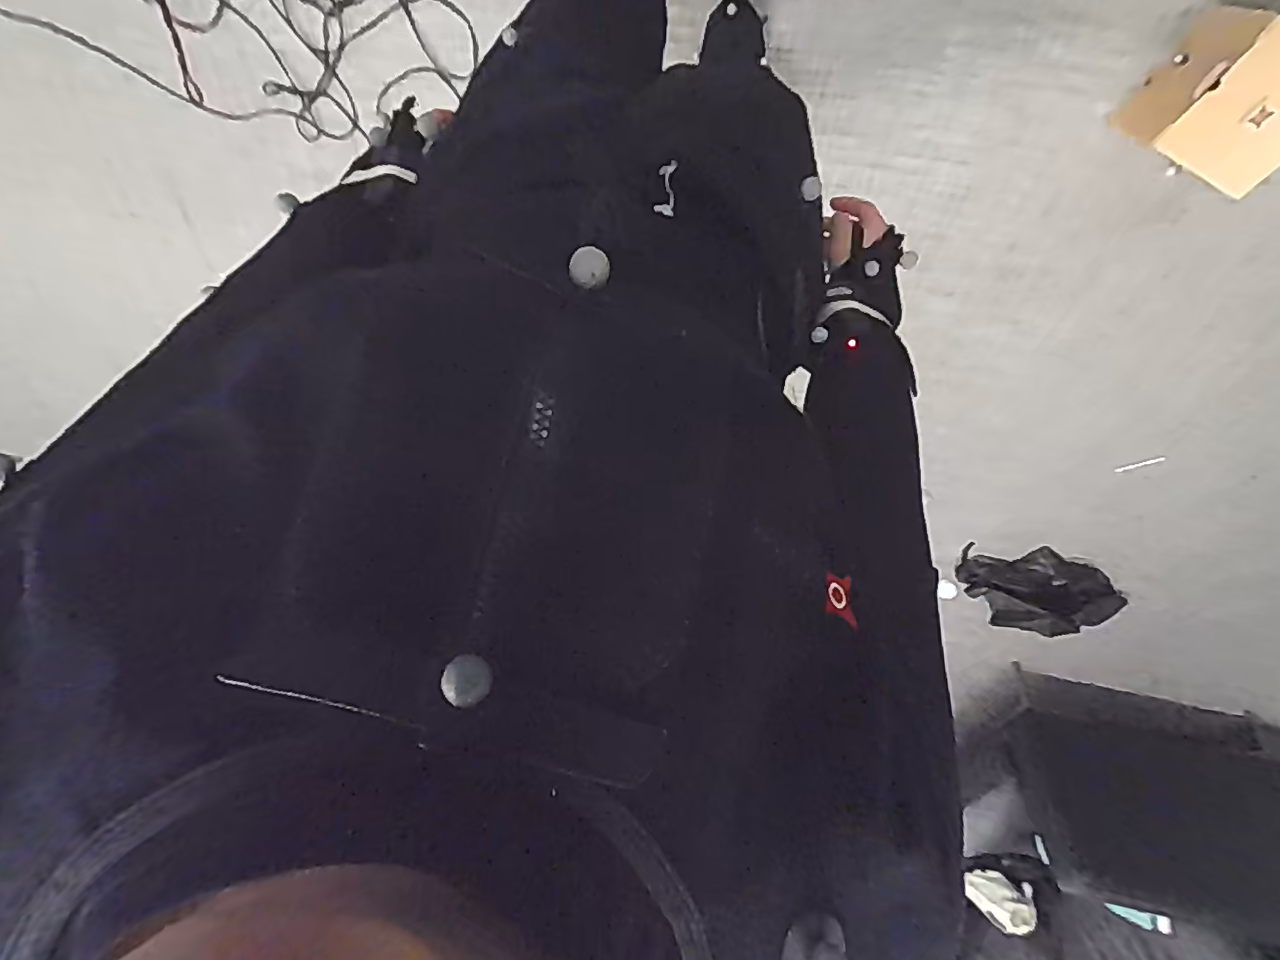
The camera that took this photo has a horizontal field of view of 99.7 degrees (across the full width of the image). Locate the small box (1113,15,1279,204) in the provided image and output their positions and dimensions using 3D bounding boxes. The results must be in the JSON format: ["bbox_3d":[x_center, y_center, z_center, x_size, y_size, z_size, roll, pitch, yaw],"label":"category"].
[{"bbox_3d":[0.880,-0.557,0.809,0.179,0.176,0.168,24,135,-8],"label":"small box"}]
